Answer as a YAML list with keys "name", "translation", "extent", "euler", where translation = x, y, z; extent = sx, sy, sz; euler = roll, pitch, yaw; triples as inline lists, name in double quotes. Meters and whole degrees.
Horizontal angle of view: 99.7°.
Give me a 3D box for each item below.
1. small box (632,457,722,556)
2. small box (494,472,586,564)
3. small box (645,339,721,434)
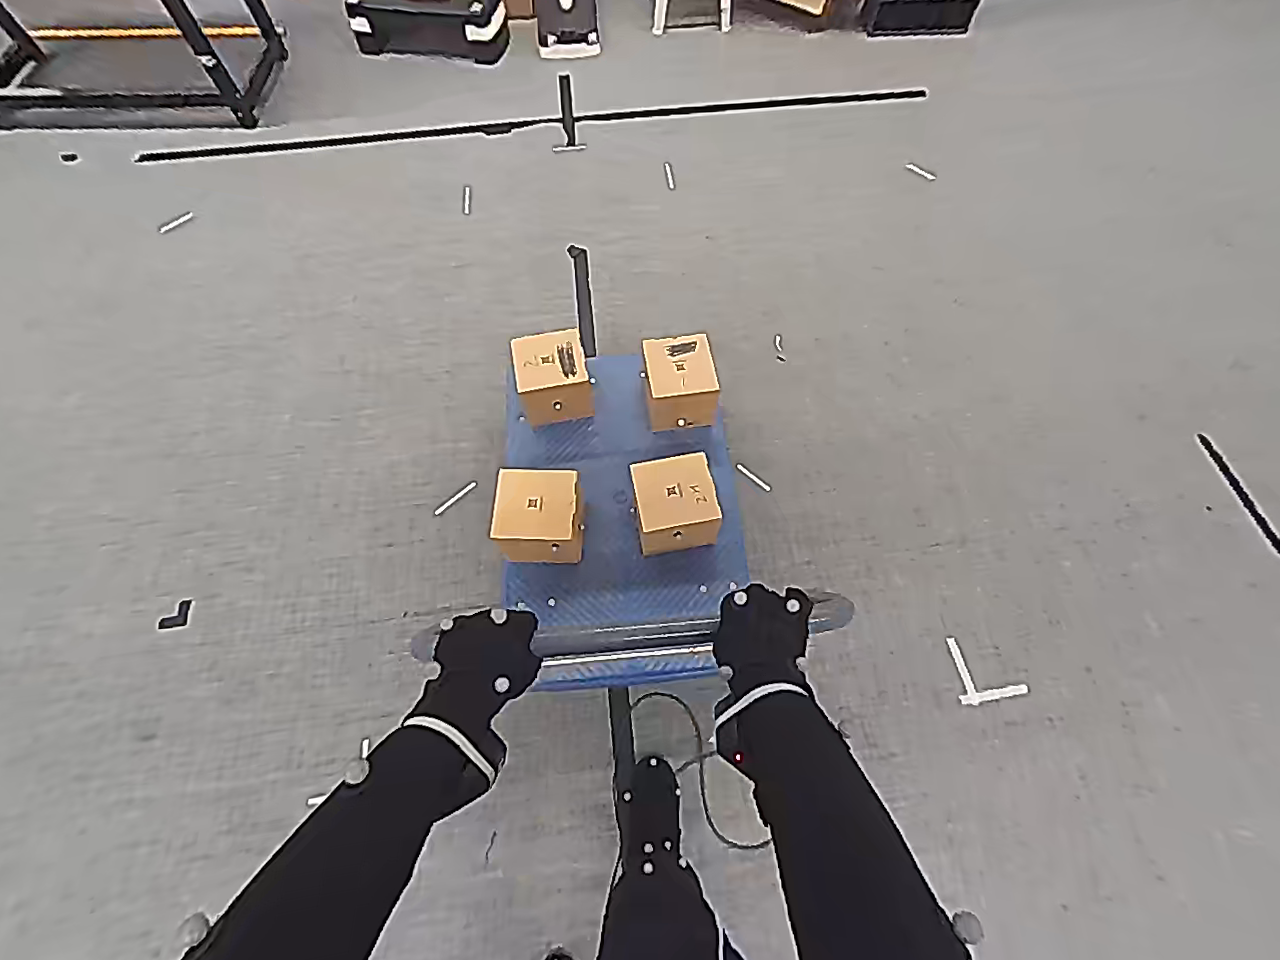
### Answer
- name: "small box"
  translation: [0.081, 0.066, 1.260]
  extent: [0.179, 0.176, 0.168]
  euler: [-9, 65, -4]
- name: "small box"
  translation: [-0.223, 0.092, 1.248]
  extent: [0.179, 0.176, 0.168]
  euler: [2, 64, -1]
- name: "small box"
  translation: [0.104, -0.239, 1.403]
  extent: [0.168, 0.176, 0.179]
  euler: [-7, 66, -3]
